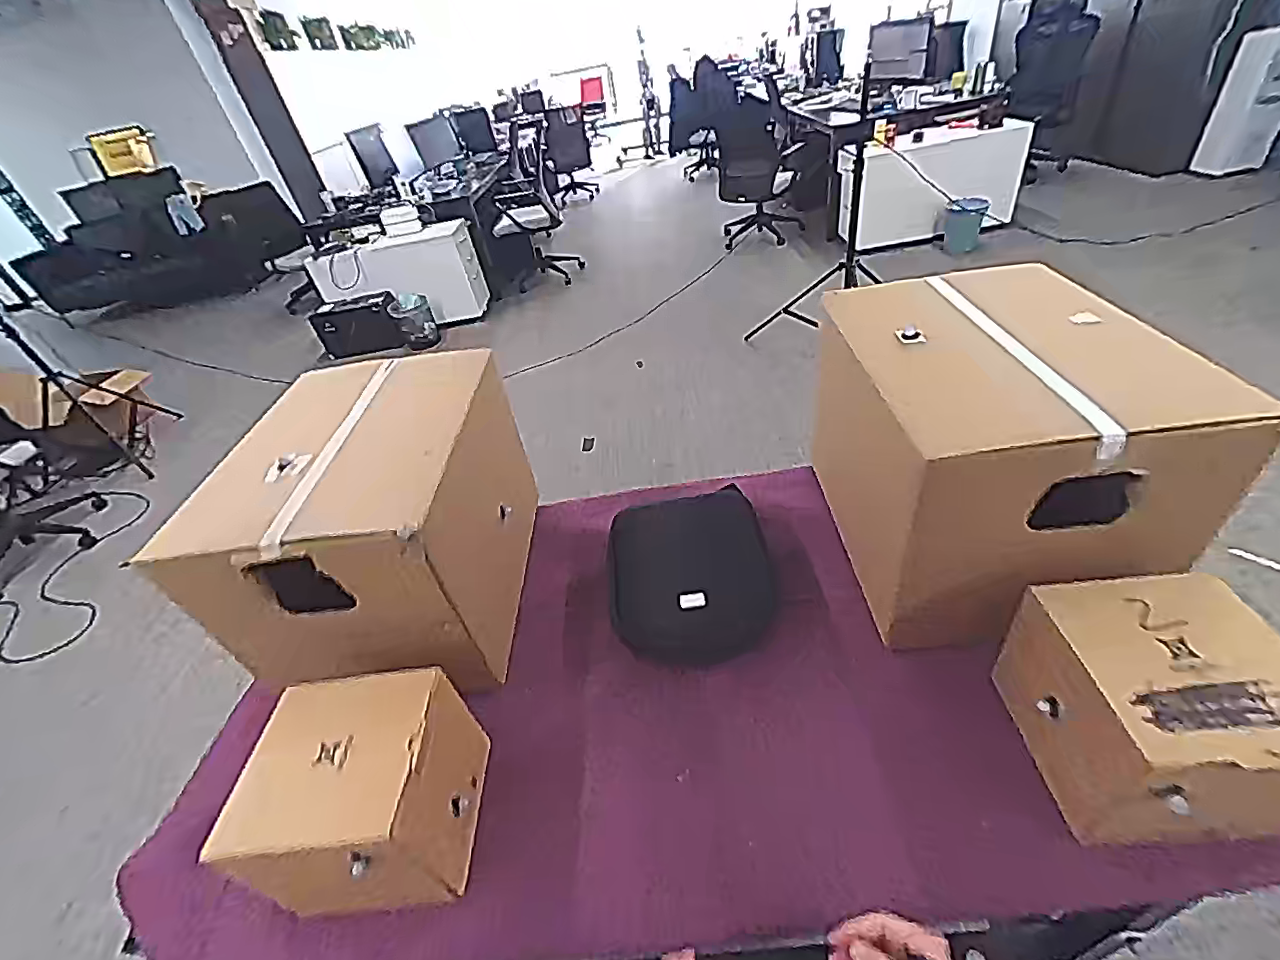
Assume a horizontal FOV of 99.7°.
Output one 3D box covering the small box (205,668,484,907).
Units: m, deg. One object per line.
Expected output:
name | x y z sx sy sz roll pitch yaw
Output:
small box | -0.291 0.331 0.582 0.179 0.176 0.168 -9 37 3

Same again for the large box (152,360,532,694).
large box | -0.362 0.067 0.811 0.320 0.320 0.408 -7 41 4
